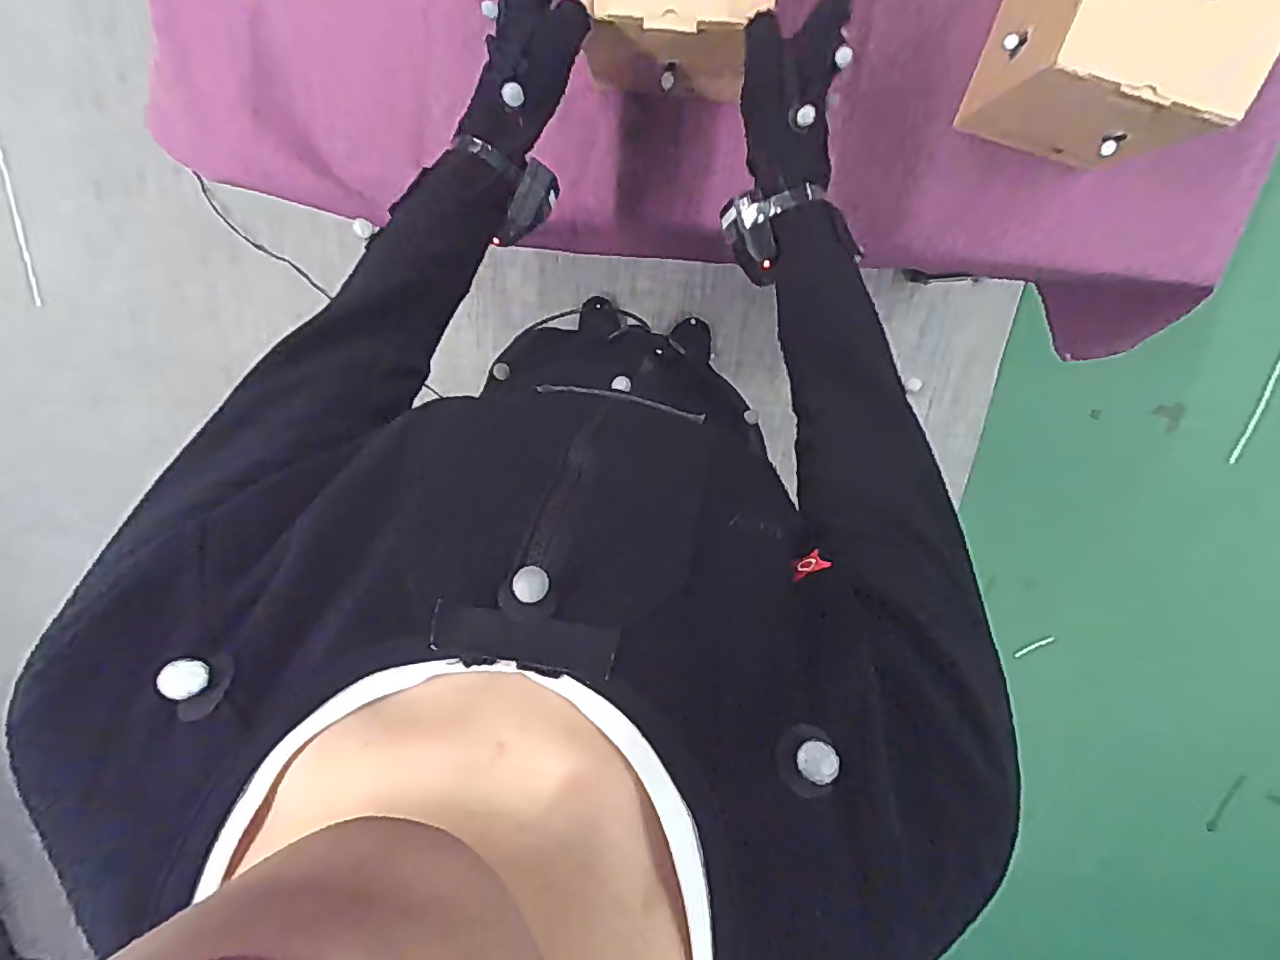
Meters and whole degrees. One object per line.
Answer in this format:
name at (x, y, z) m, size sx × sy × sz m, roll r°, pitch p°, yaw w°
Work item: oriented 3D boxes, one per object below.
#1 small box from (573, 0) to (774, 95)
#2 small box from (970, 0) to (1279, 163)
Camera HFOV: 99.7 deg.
small box at (0.039, -0.477, 0.487) m, size 0.168 × 0.176 × 0.179 m, roll 6°, pitch 109°, yaw 1°
small box at (0.438, -0.414, 0.484) m, size 0.168 × 0.176 × 0.179 m, roll 17°, pitch 108°, yaw -2°
